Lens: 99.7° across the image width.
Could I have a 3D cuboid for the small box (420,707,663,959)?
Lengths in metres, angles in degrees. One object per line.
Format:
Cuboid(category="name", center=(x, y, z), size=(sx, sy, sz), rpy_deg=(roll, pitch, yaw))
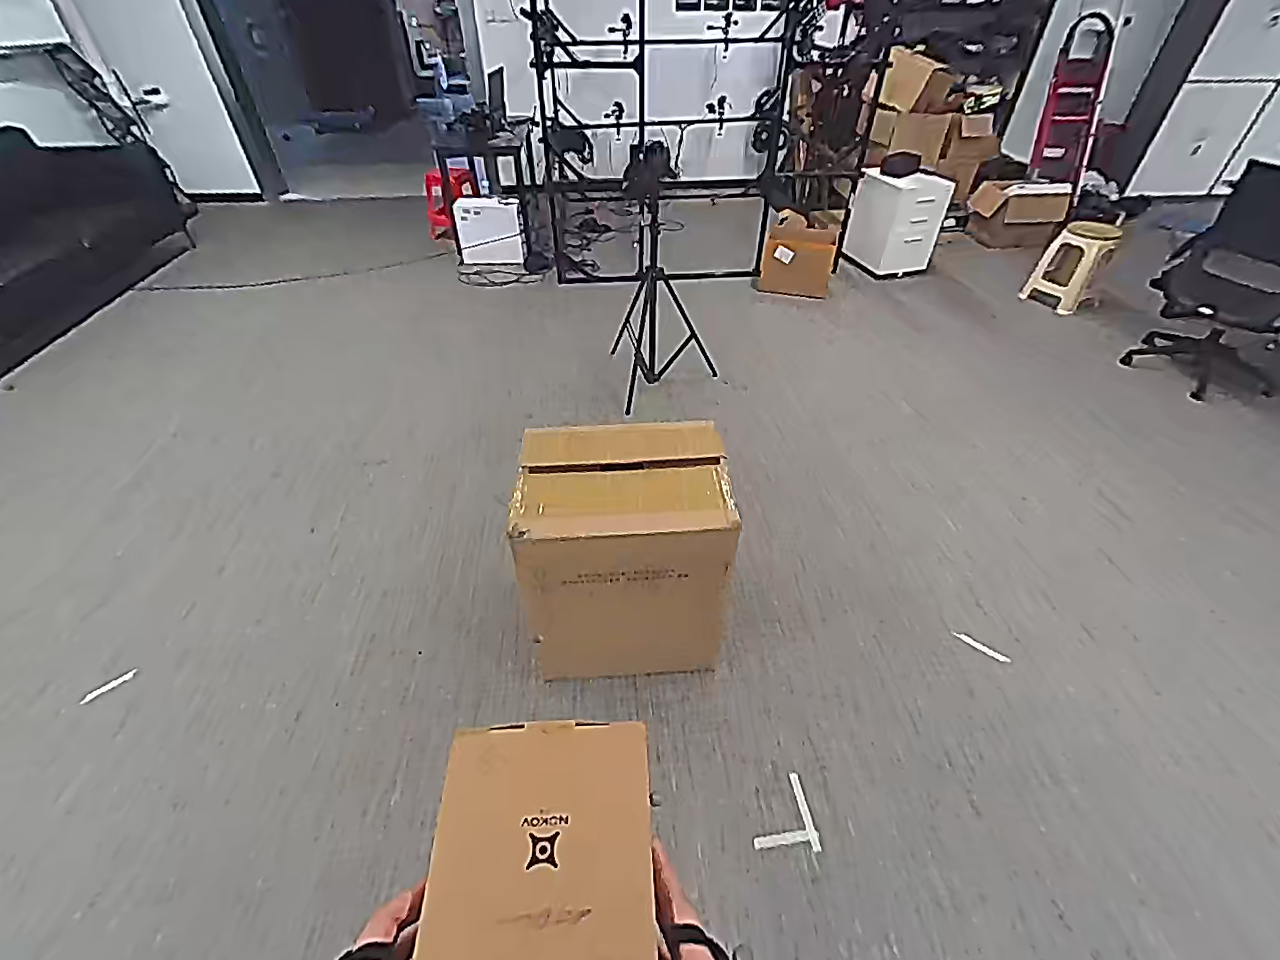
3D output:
Cuboid(category="small box", center=(-0.071, 0.321, 0.474), size=(0.168, 0.176, 0.179), rpy_deg=(-2, 46, -2))
